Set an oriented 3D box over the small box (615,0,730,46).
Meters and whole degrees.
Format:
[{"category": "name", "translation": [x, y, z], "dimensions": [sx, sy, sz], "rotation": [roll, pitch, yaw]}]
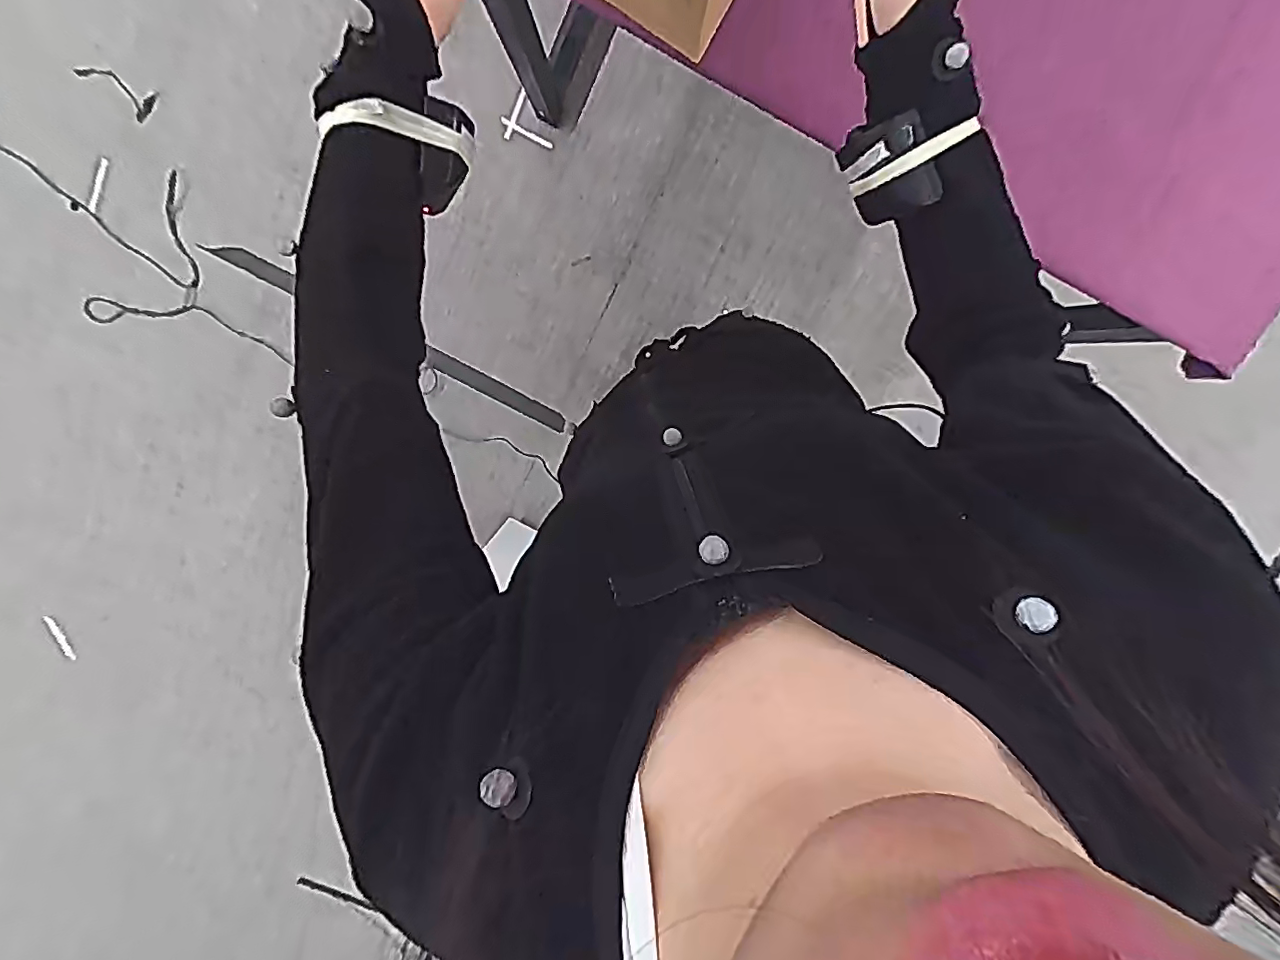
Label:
[{"category": "small box", "translation": [0.039, -0.585, 0.534], "dimensions": [0.179, 0.176, 0.168], "rotation": [31, 102, -6]}]
